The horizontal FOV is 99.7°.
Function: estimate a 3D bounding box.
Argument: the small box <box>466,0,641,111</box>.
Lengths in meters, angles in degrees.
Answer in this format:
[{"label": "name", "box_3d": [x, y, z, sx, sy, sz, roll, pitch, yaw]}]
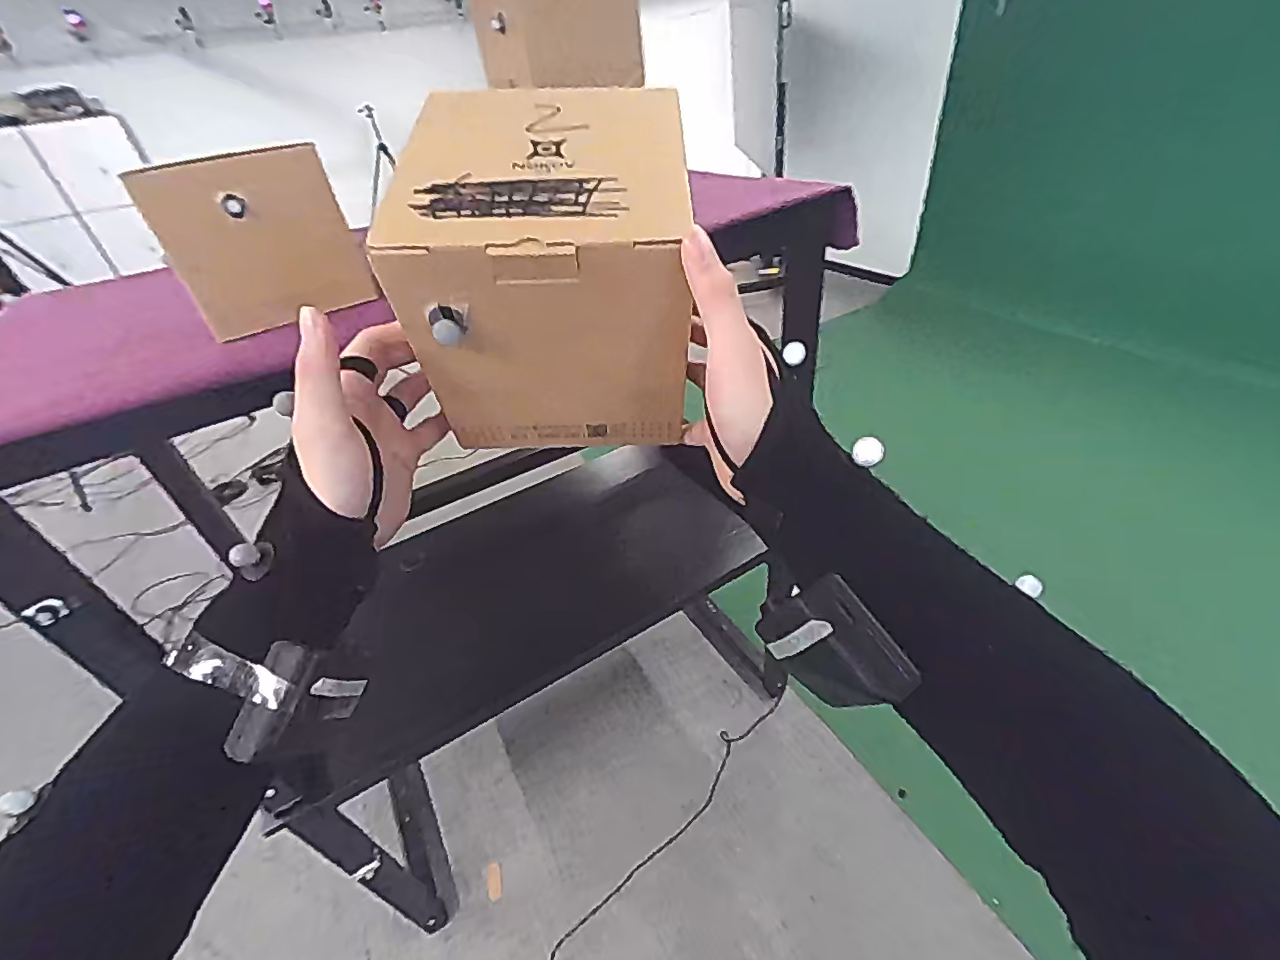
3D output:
[{"label": "small box", "box_3d": [-0.116, -0.607, 0.729, 0.179, 0.176, 0.168, -24, 39, -20]}]

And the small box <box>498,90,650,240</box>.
[{"label": "small box", "box_3d": [-0.097, -0.481, 0.833, 0.168, 0.176, 0.179, -23, 38, -18]}]

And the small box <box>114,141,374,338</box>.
[{"label": "small box", "box_3d": [-0.445, -0.282, 0.631, 0.179, 0.176, 0.168, -27, 41, -24]}]
